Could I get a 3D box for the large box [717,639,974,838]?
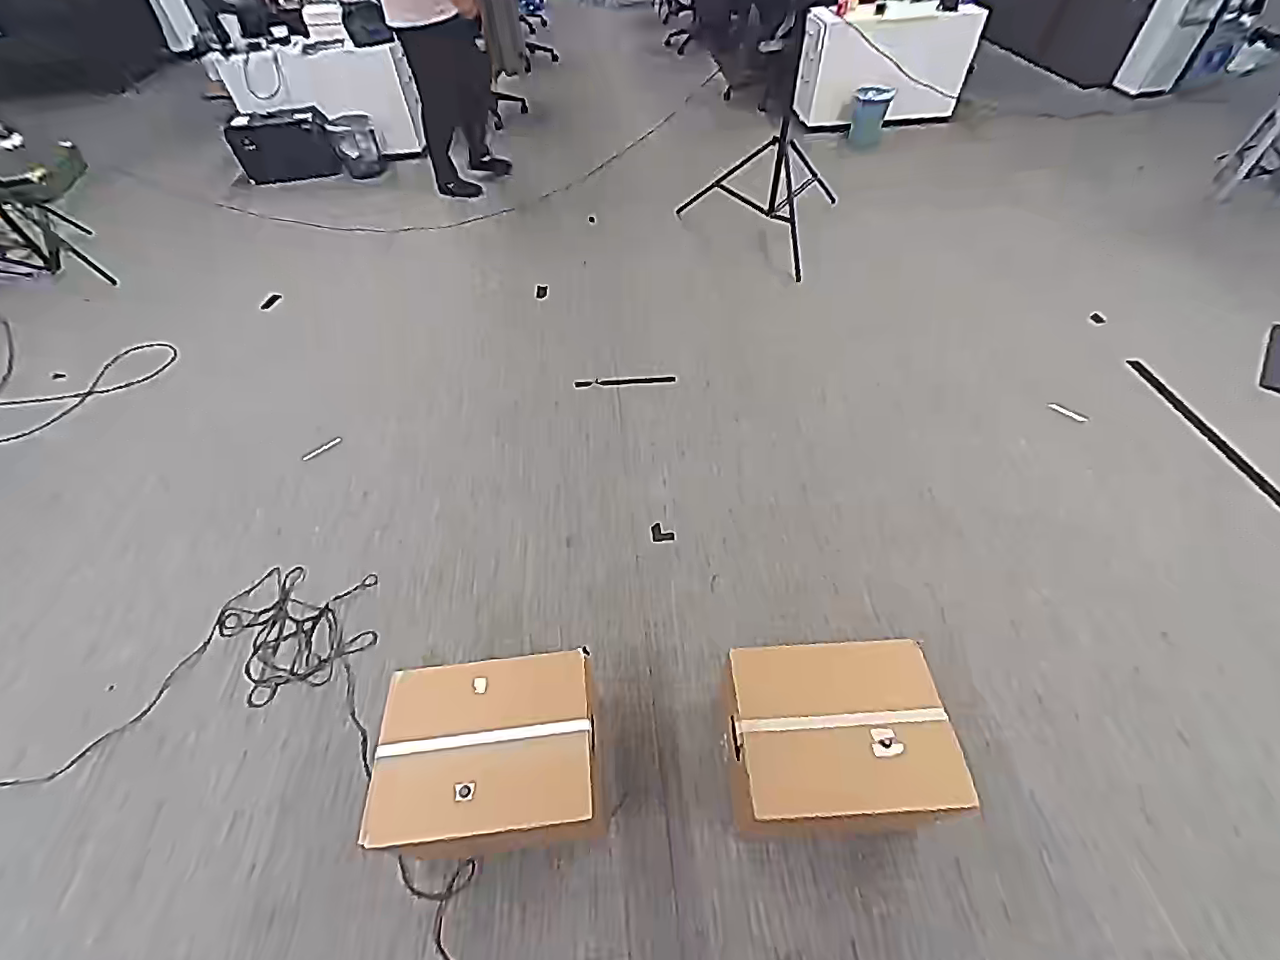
[{"bbox_3d":[0.399,0.563,1.173,0.408,0.320,0.320,-2,51,-1],"label":"large box"}]
